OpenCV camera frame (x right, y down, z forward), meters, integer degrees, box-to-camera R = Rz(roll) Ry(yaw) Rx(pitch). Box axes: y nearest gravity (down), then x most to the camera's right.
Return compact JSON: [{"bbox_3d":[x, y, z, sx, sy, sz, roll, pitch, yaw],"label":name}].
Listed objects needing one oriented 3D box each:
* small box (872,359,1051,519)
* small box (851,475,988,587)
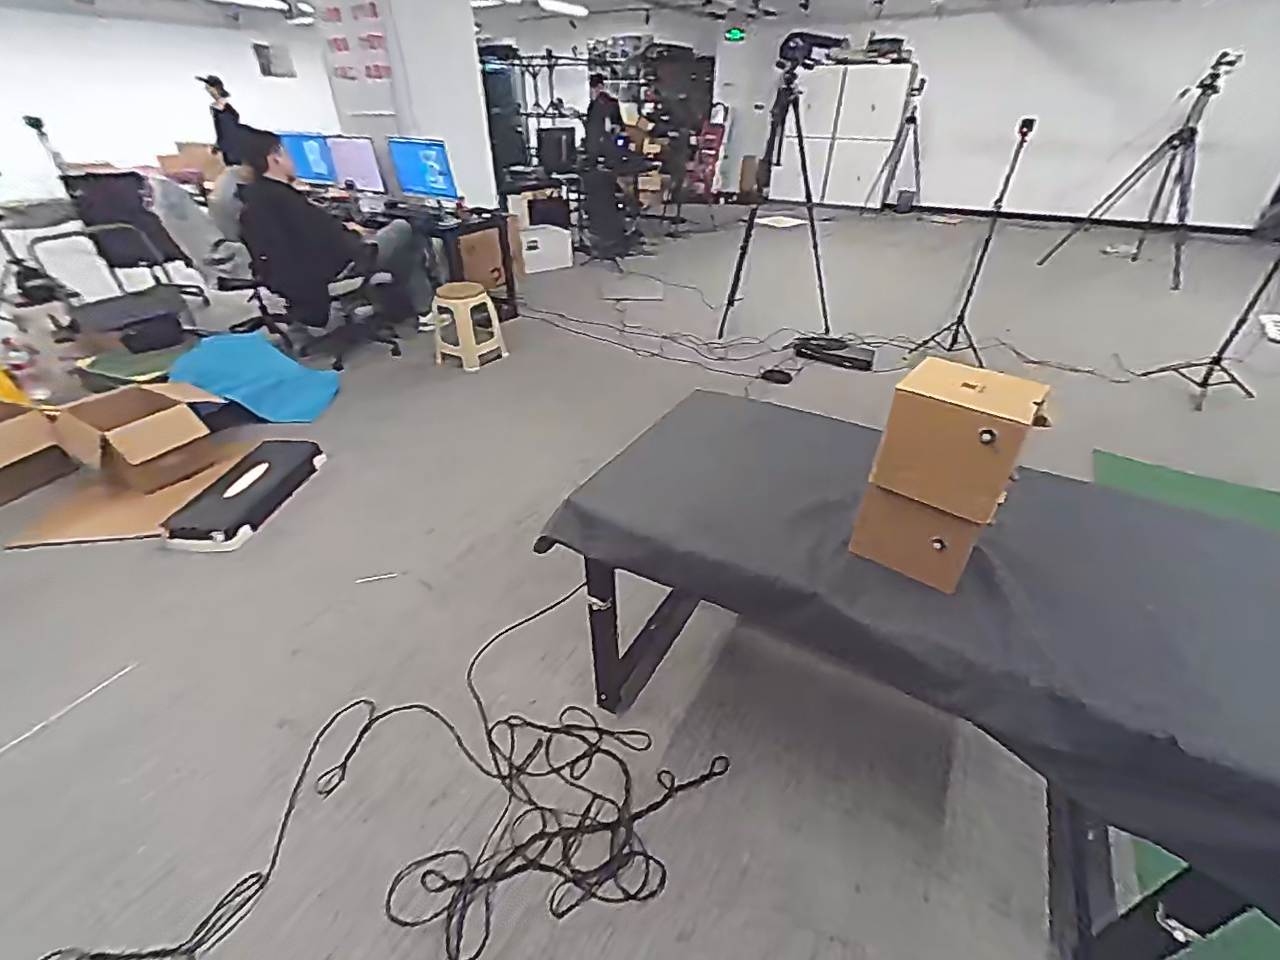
[{"bbox_3d":[0.483,-0.066,0.829,0.179,0.176,0.168,26,41,32],"label":"small box"},{"bbox_3d":[0.493,0.058,0.935,0.179,0.176,0.168,24,40,31],"label":"small box"}]
